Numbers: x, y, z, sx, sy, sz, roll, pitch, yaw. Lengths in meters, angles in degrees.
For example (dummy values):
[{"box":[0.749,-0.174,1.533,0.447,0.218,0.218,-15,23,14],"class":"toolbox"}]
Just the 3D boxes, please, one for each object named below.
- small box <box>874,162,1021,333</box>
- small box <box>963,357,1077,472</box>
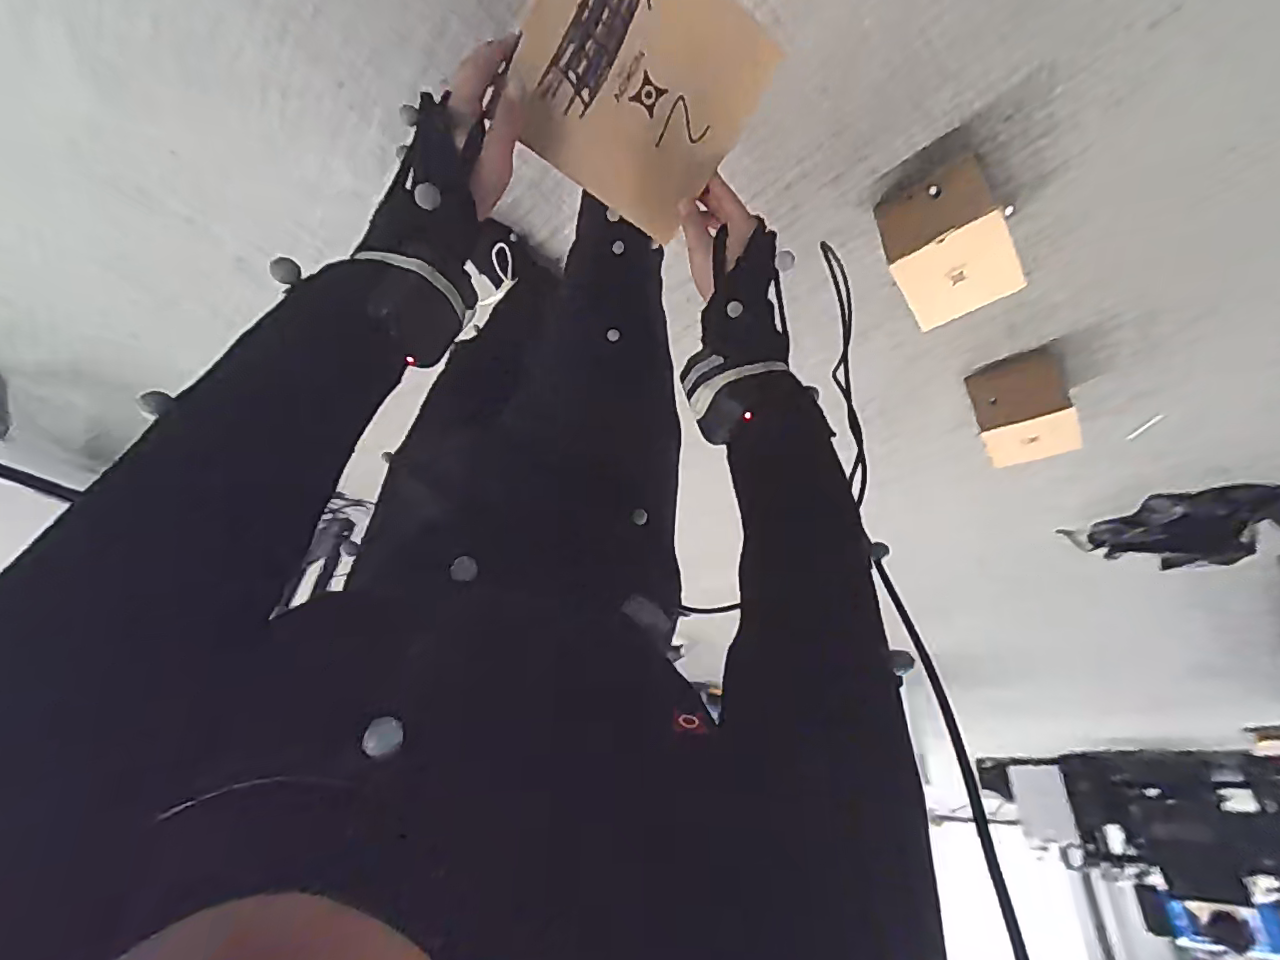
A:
[{"box":[0.526,-0.398,0.934,0.168,0.176,0.179,-22,136,36],"class":"small box"},{"box":[0.866,-0.149,1.245,0.179,0.176,0.168,-20,139,33],"class":"small box"}]
